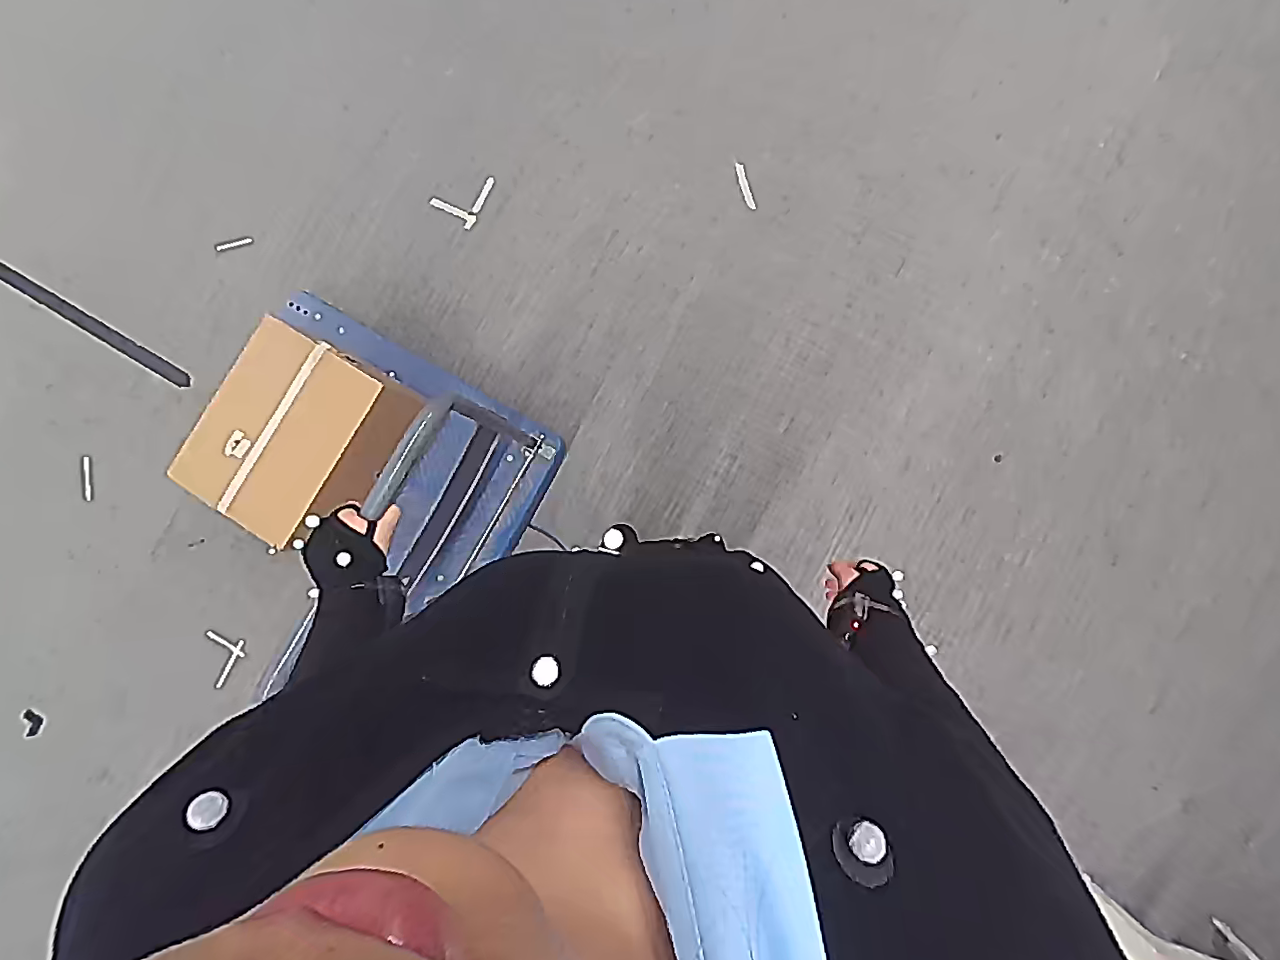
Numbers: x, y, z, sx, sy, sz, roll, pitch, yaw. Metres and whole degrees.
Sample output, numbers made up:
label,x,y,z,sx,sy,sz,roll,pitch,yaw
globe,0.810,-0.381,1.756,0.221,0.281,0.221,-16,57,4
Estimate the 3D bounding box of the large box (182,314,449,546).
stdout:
label,x,y,z,sx,sy,sz,roll,pitch,yaw
large box,-0.733,-0.102,1.279,0.320,0.320,0.408,31,90,8
